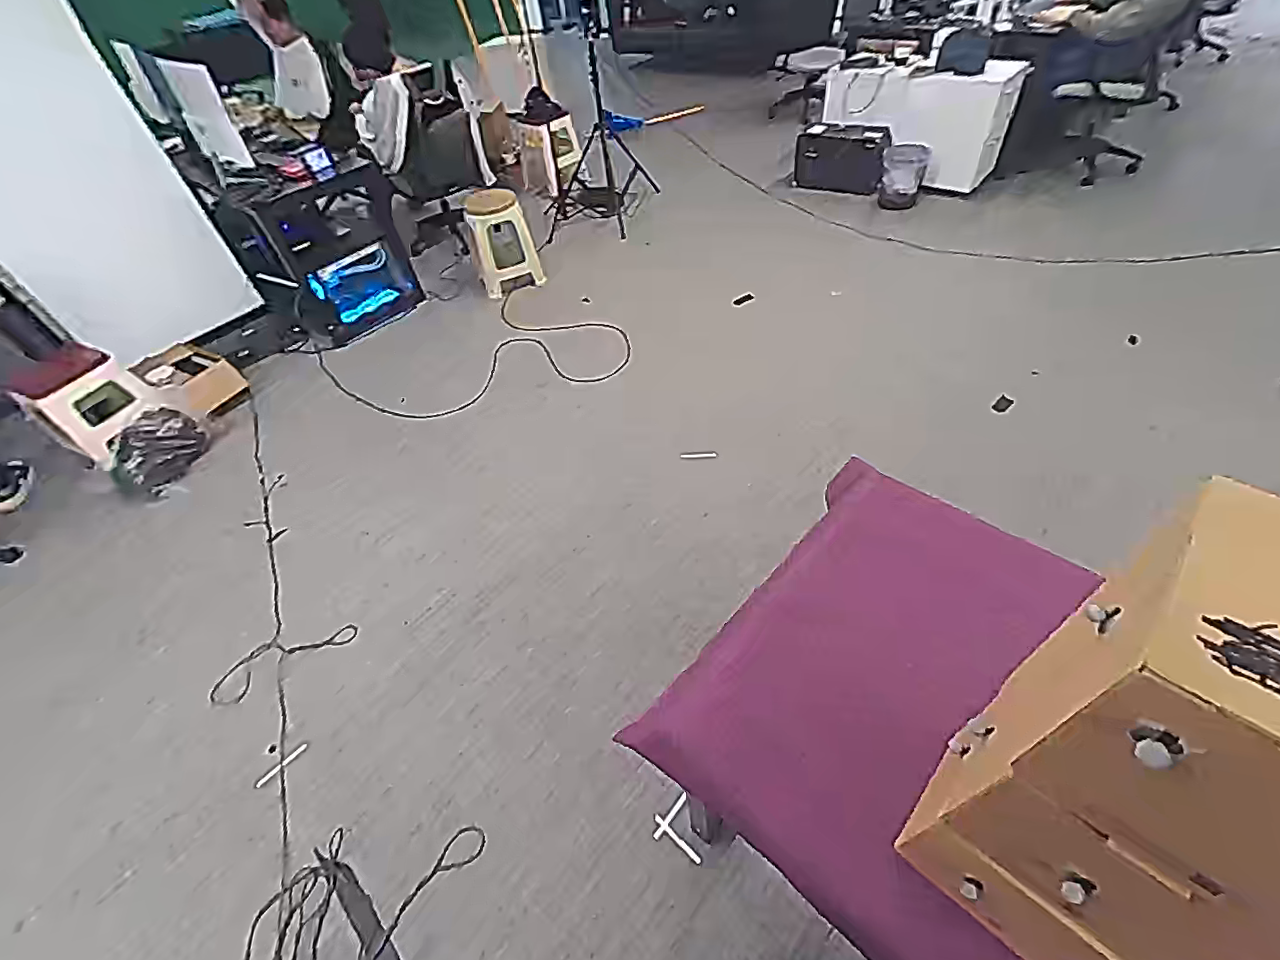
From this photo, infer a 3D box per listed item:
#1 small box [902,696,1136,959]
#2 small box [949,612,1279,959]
[{"bbox_3d":[0.403,0.369,0.571,0.168,0.176,0.179,34,59,31],"label":"small box"},{"bbox_3d":[0.391,0.255,0.454,0.168,0.176,0.179,32,59,30],"label":"small box"}]
